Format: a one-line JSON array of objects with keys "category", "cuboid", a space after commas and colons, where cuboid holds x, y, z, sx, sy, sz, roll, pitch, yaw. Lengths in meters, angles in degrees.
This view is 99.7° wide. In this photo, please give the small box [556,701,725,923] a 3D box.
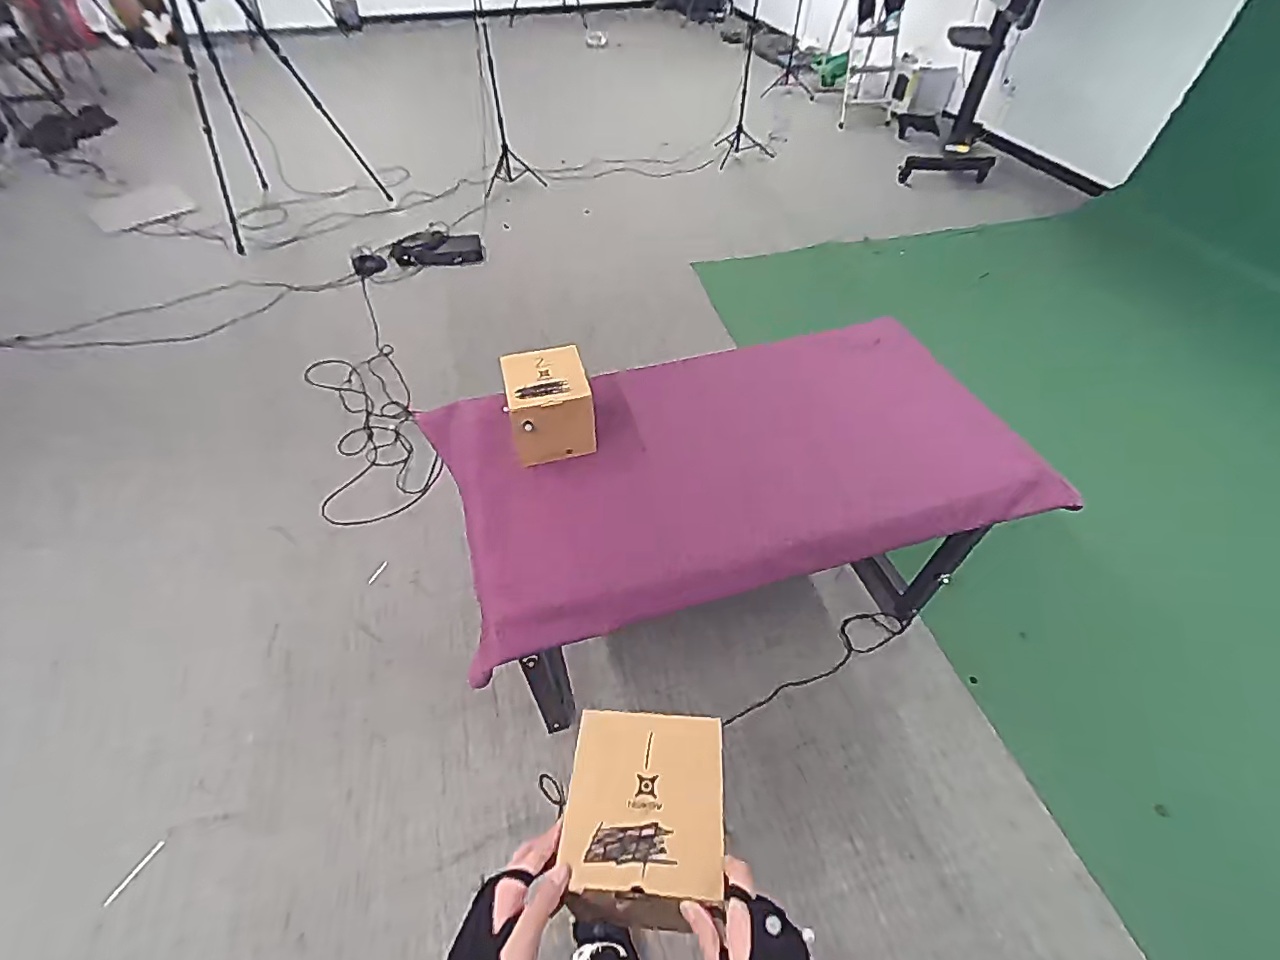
[{"category": "small box", "cuboid": [0.013, 0.382, 0.624, 0.168, 0.176, 0.179, 2, 41, 6]}]
